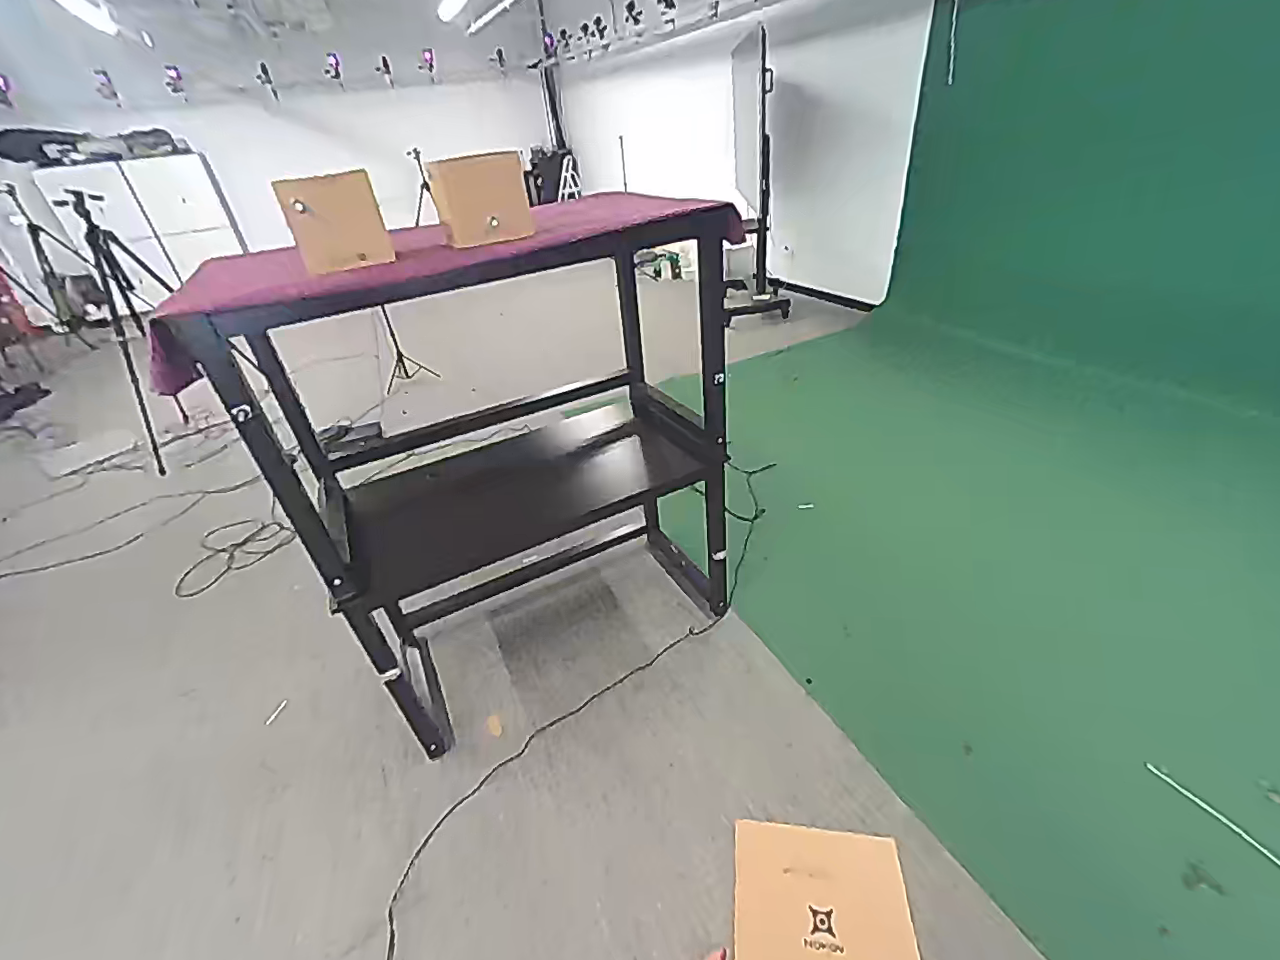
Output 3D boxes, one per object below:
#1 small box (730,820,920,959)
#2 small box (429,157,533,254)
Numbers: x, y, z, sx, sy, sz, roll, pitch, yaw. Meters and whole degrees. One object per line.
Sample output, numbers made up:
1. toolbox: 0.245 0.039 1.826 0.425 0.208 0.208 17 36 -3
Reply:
1. small box: 0.175 0.483 0.539 0.168 0.176 0.179 2 32 10
2. small box: -0.347 -0.613 1.203 0.179 0.176 0.168 -20 34 -20
